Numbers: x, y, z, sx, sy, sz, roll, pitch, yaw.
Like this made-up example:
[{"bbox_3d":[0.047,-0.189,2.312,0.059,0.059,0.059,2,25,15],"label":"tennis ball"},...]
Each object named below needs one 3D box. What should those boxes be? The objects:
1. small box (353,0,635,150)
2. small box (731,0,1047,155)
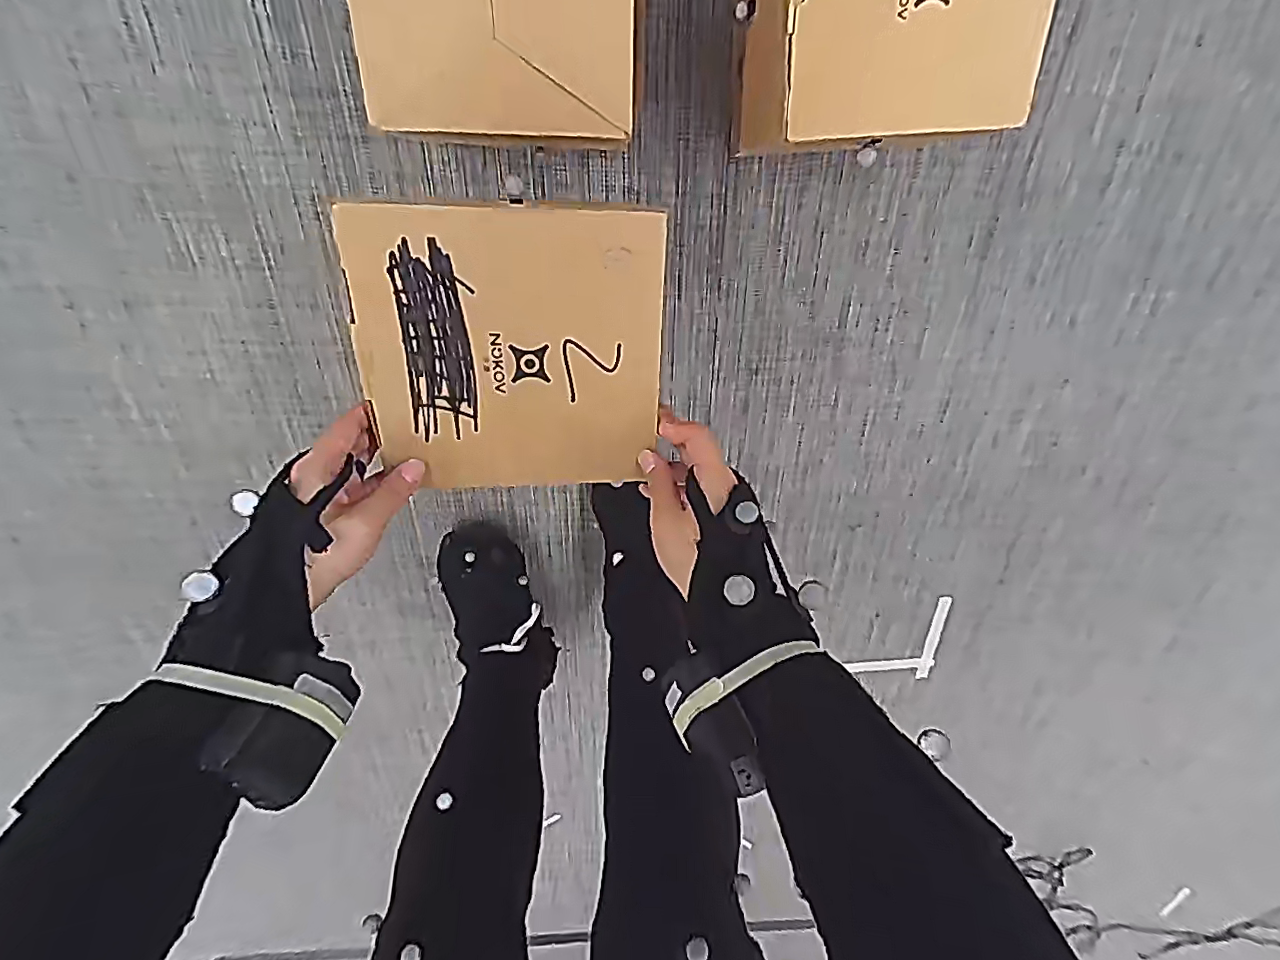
[{"bbox_3d":[-0.093,-0.342,0.399,0.179,0.176,0.168,-1,119,-5],"label":"small box"},{"bbox_3d":[0.177,-0.353,0.418,0.179,0.176,0.168,-4,119,-1],"label":"small box"}]
